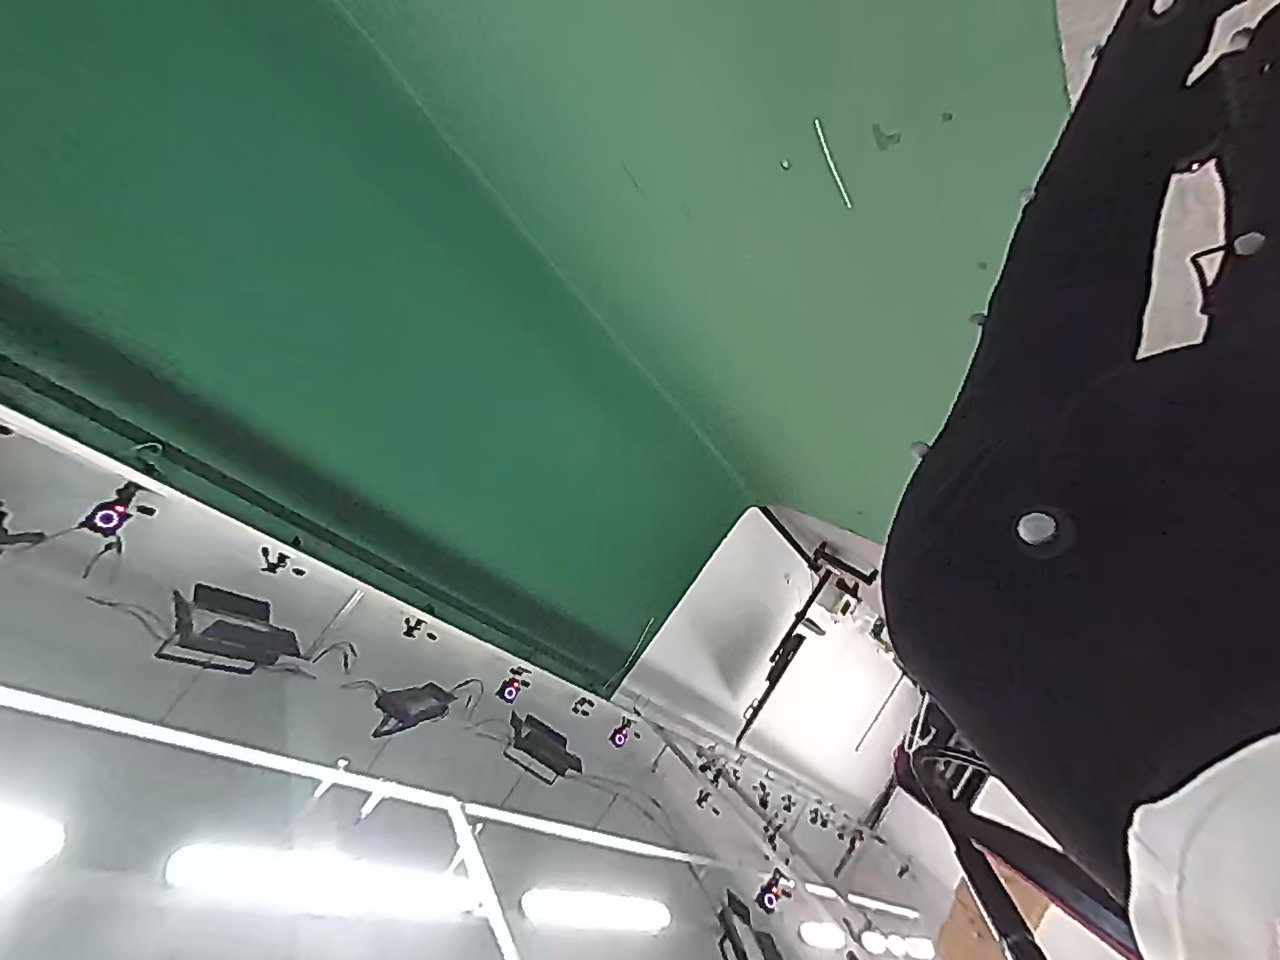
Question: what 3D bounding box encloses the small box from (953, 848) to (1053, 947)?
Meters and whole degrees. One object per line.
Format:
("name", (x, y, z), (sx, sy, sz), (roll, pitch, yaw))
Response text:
("small box", (1.081, 1.233, 1.611), (0.168, 0.176, 0.179), (41, 172, -35))
